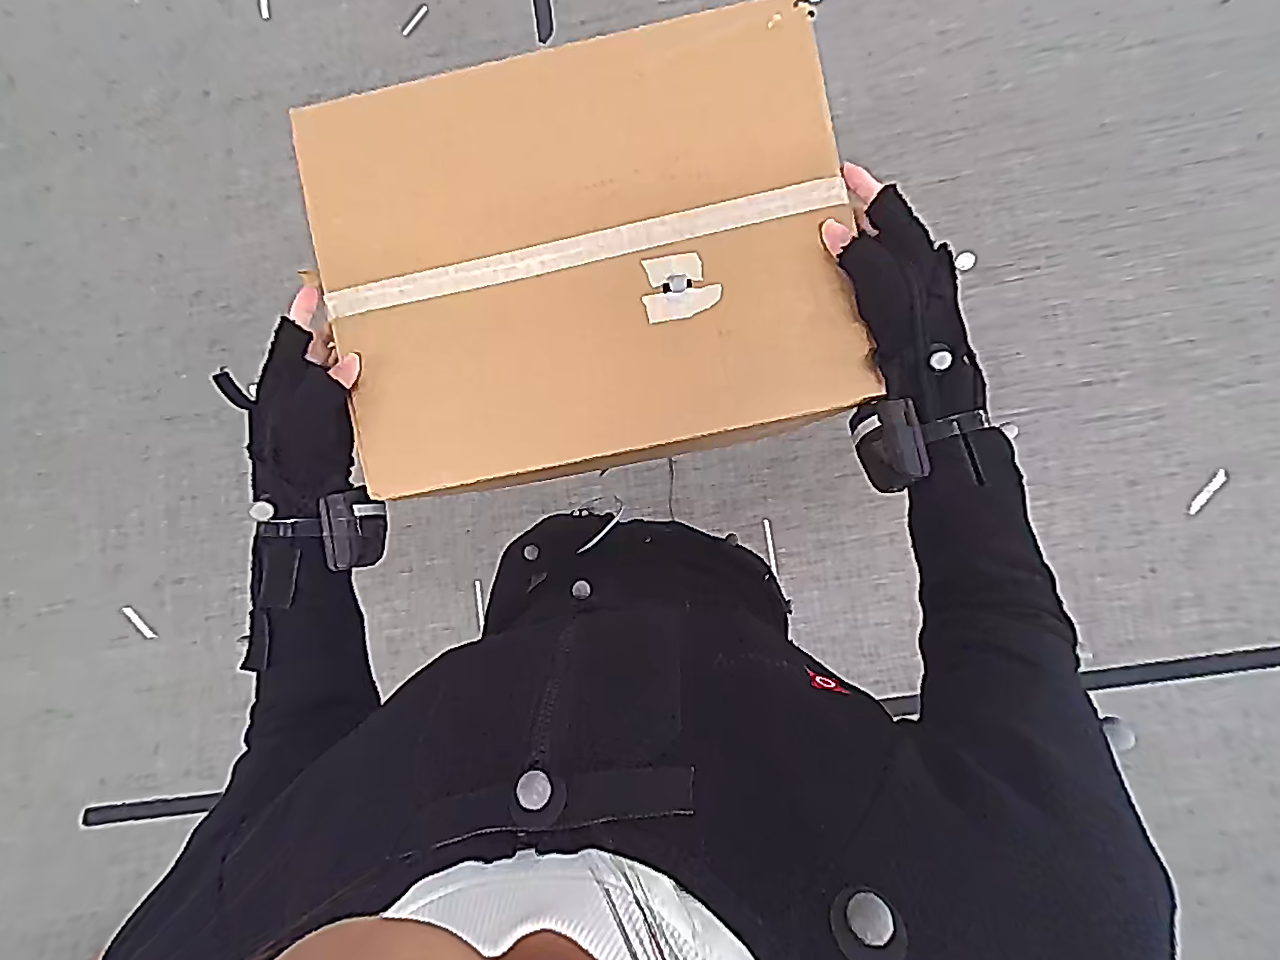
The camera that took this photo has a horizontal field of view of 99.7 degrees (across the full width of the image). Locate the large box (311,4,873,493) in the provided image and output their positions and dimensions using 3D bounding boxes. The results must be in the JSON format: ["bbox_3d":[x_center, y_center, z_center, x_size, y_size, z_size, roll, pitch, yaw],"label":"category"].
[{"bbox_3d":[-0.038,-0.181,0.576,0.408,0.320,0.320,-12,91,2],"label":"large box"}]
